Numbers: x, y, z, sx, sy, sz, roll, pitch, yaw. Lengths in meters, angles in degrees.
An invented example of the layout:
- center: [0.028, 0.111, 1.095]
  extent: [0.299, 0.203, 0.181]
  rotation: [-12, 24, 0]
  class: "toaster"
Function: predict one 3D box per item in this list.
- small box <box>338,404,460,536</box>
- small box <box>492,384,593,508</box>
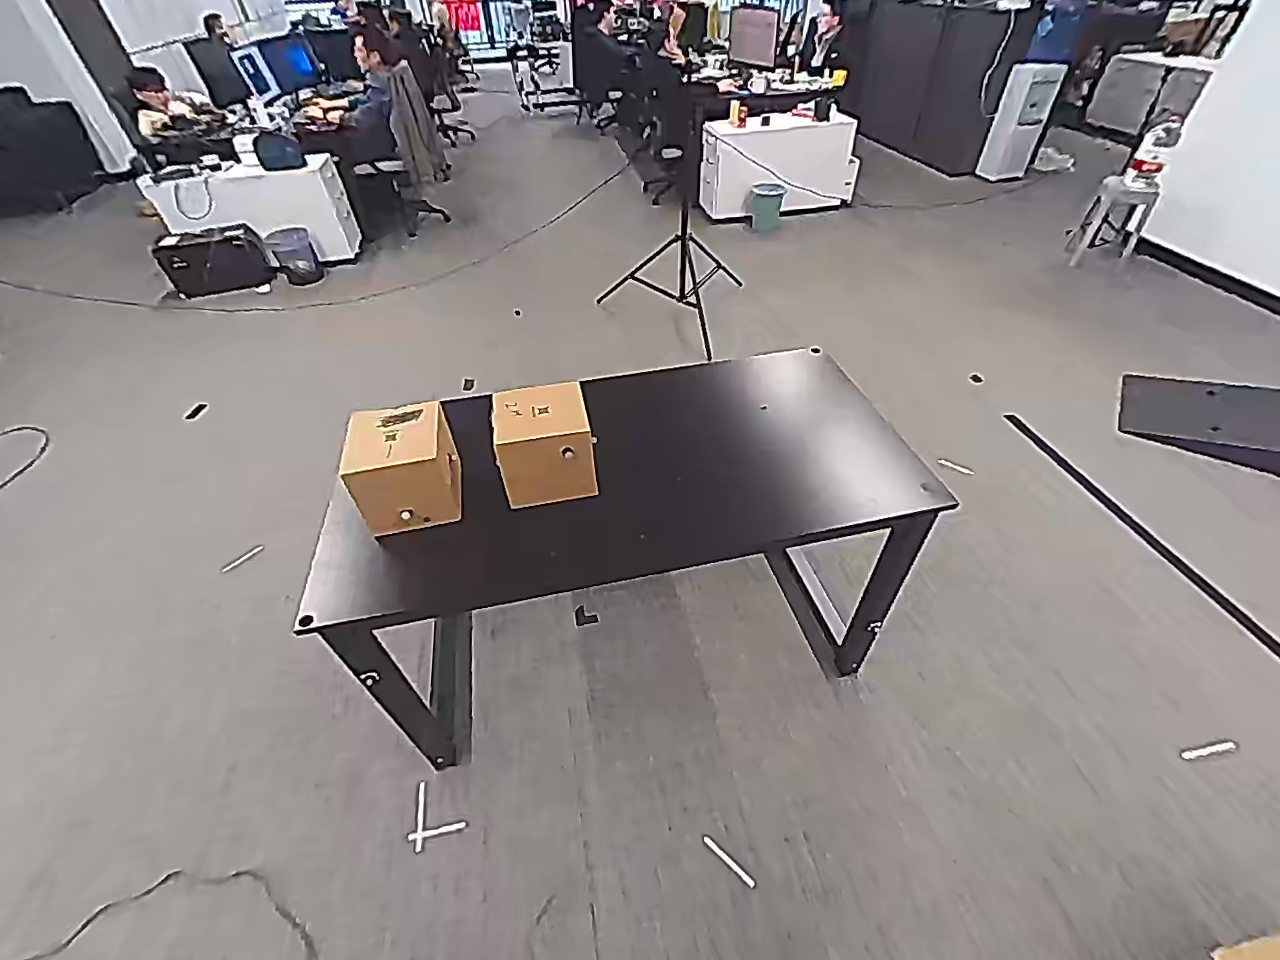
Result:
- center: [-0.452, -0.019, 1.044]
  extent: [0.168, 0.176, 0.179]
  rotation: [-11, 46, -9]
  class: "small box"
- center: [-0.191, -0.066, 1.080]
  extent: [0.179, 0.176, 0.168]
  rotation: [-10, 44, -7]
  class: "small box"
